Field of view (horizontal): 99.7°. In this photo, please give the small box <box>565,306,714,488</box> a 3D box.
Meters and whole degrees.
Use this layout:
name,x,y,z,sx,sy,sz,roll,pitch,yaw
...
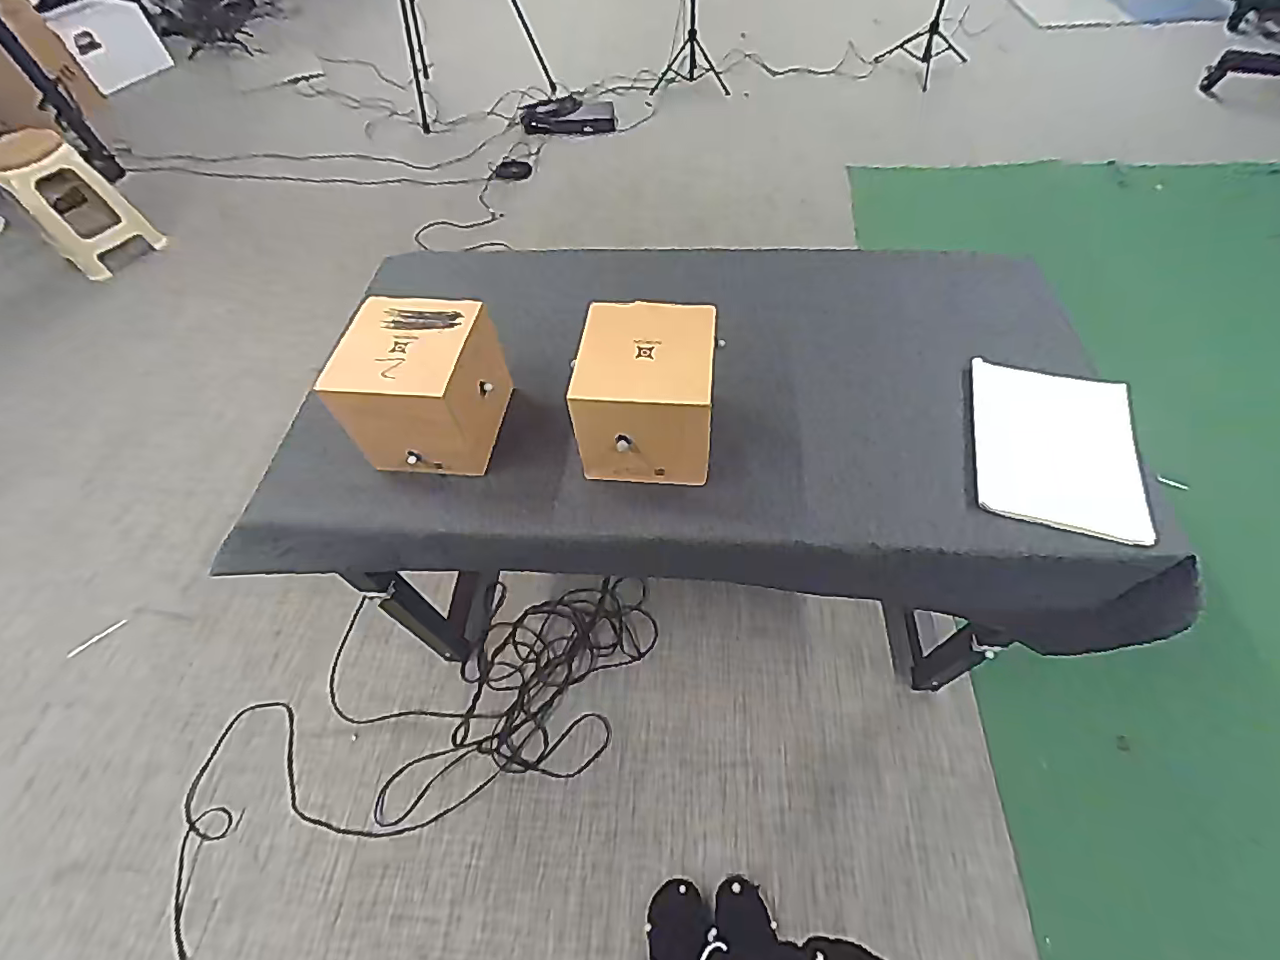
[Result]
name,x,y,z,sx,sy,sz,roll,pitch,yaw
small box,0.010,-0.106,0.712,0.168,0.176,0.179,3,55,7
